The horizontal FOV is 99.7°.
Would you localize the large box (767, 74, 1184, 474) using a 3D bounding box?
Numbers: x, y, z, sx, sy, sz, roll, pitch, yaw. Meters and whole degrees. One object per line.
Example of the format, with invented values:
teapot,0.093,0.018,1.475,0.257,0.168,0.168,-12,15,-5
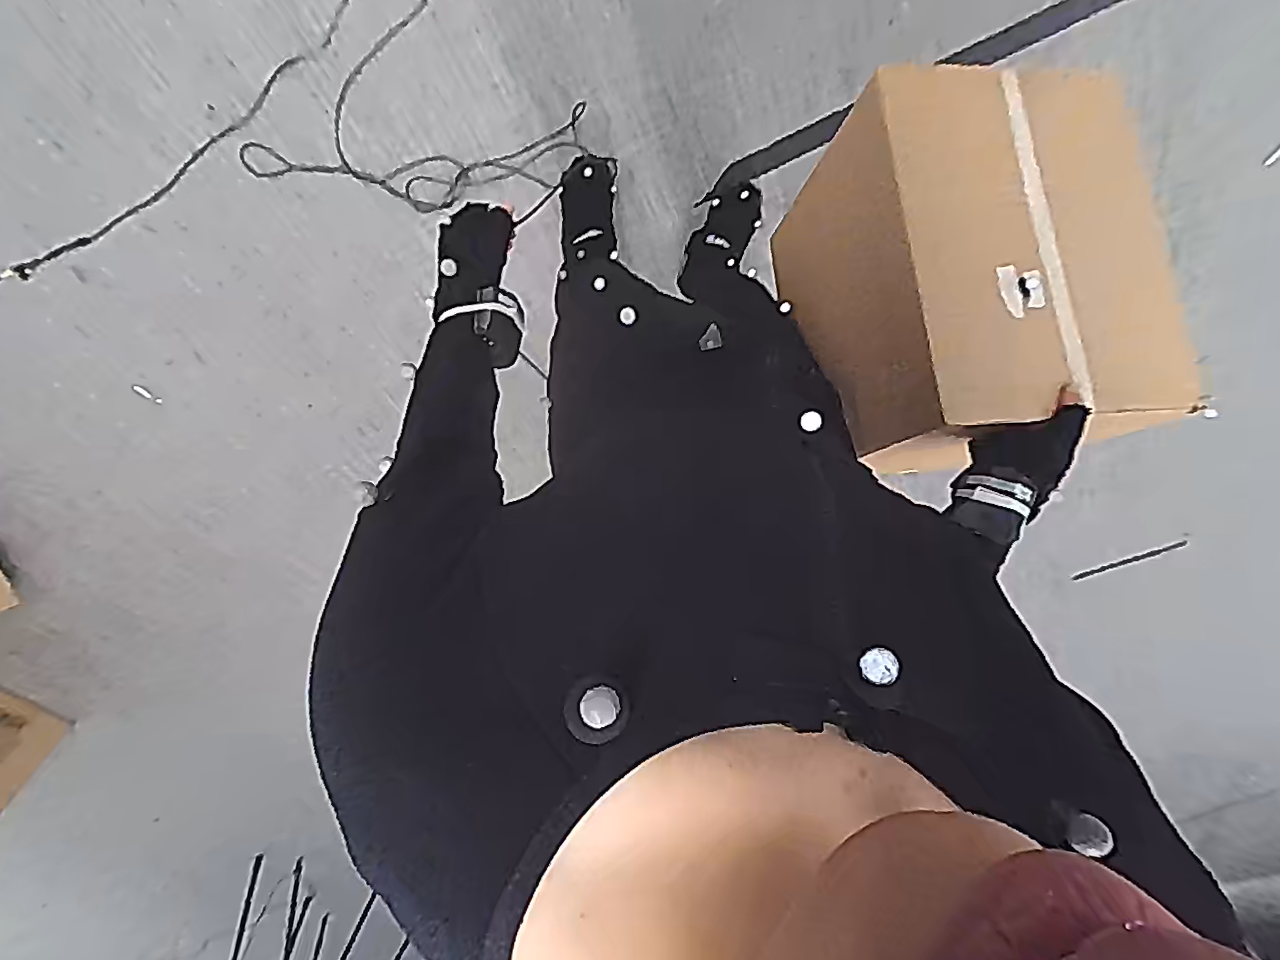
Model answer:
large box,0.396,-0.238,0.733,0.320,0.408,0.320,-4,171,-9
